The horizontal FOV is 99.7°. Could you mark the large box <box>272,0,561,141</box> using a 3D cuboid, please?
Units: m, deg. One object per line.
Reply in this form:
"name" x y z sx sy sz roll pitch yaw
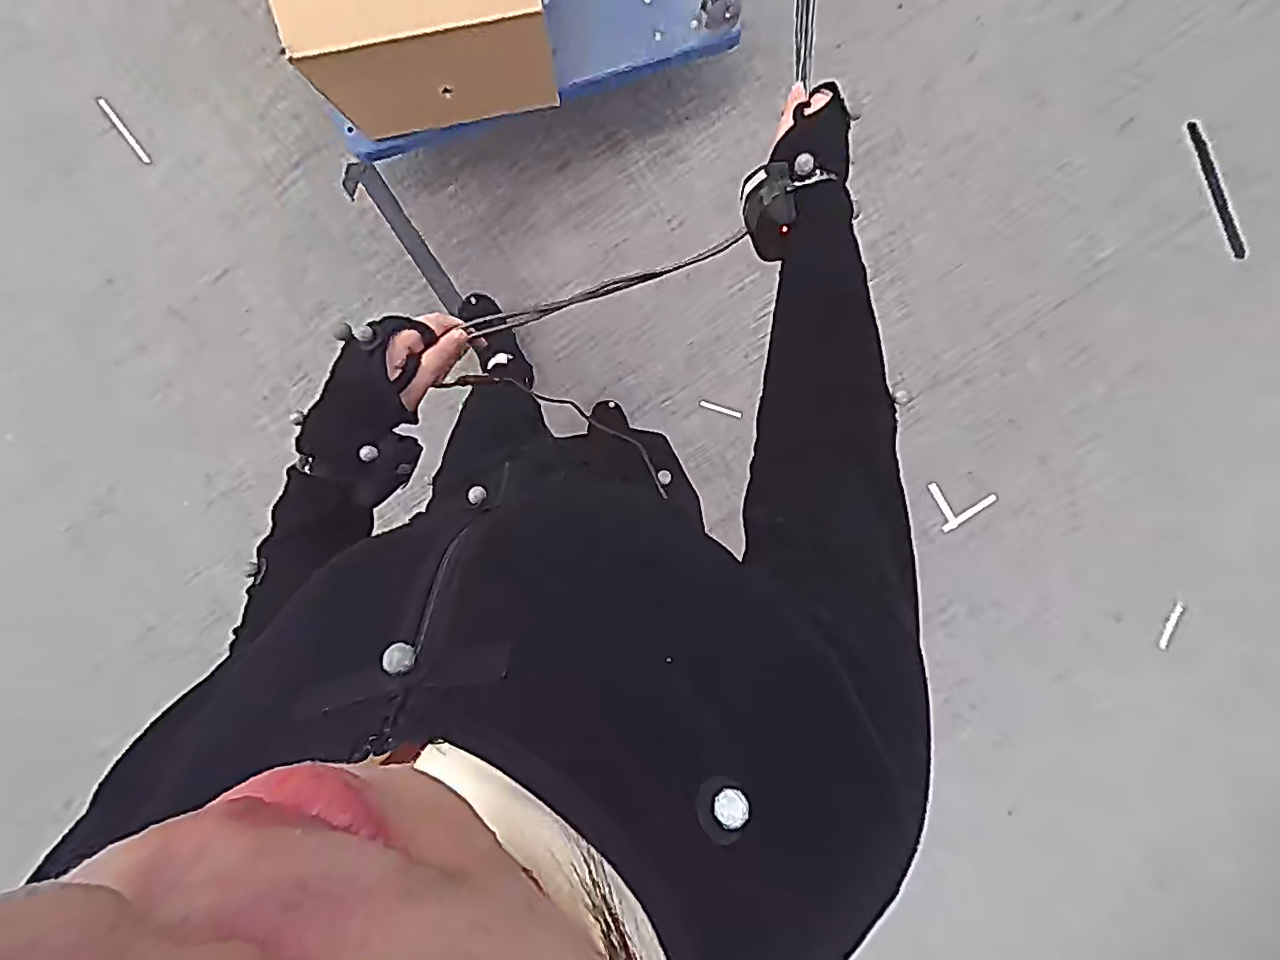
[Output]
"large box" -0.378 -0.851 0.944 0.408 0.320 0.320 -12 102 0
